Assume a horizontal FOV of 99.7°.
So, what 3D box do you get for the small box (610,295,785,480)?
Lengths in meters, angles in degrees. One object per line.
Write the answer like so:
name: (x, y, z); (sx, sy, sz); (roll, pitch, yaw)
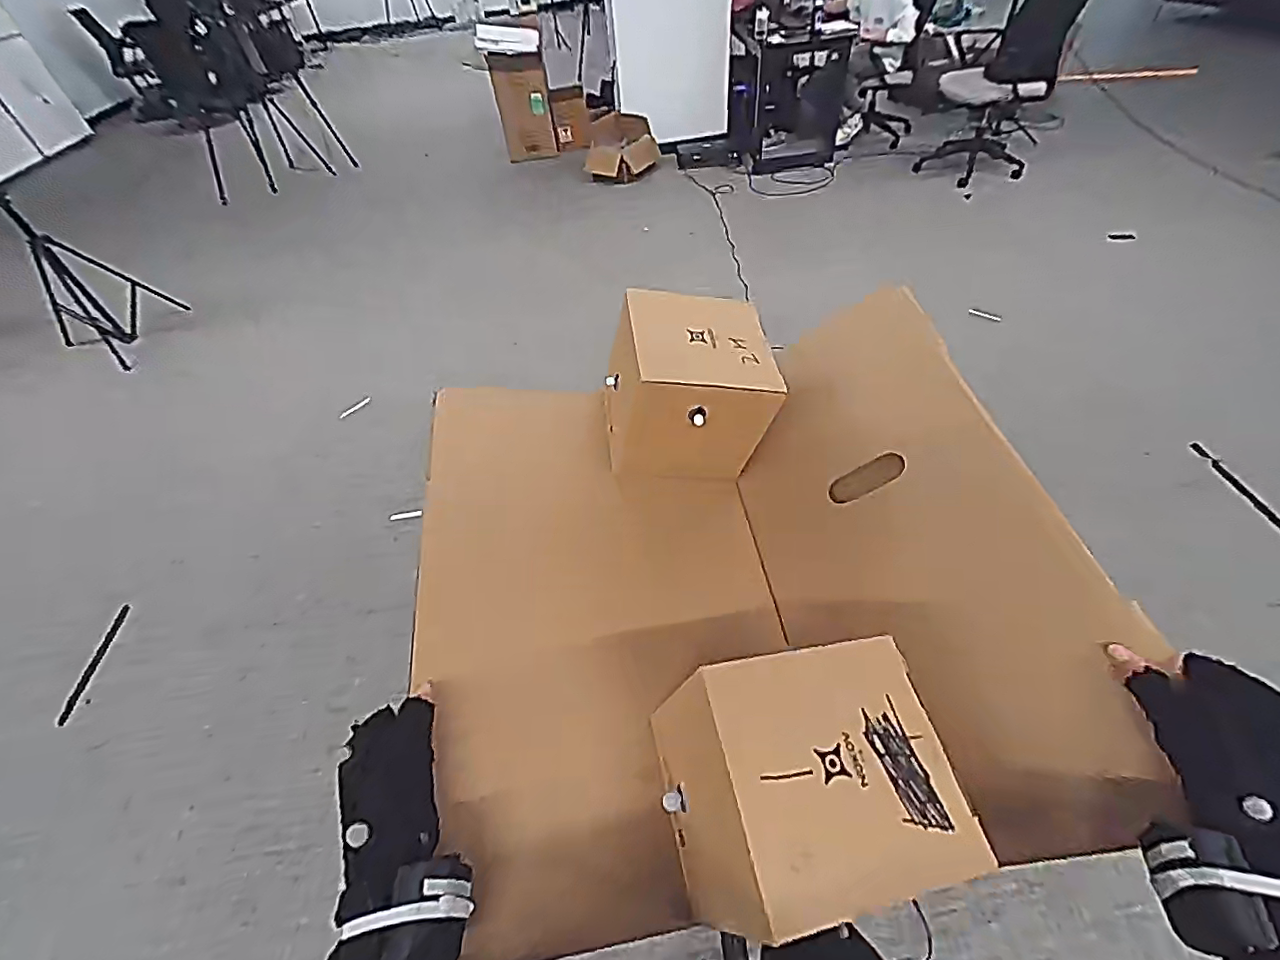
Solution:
small box: (0.058, -0.113, 0.704); (0.179, 0.176, 0.168); (3, 54, -14)
